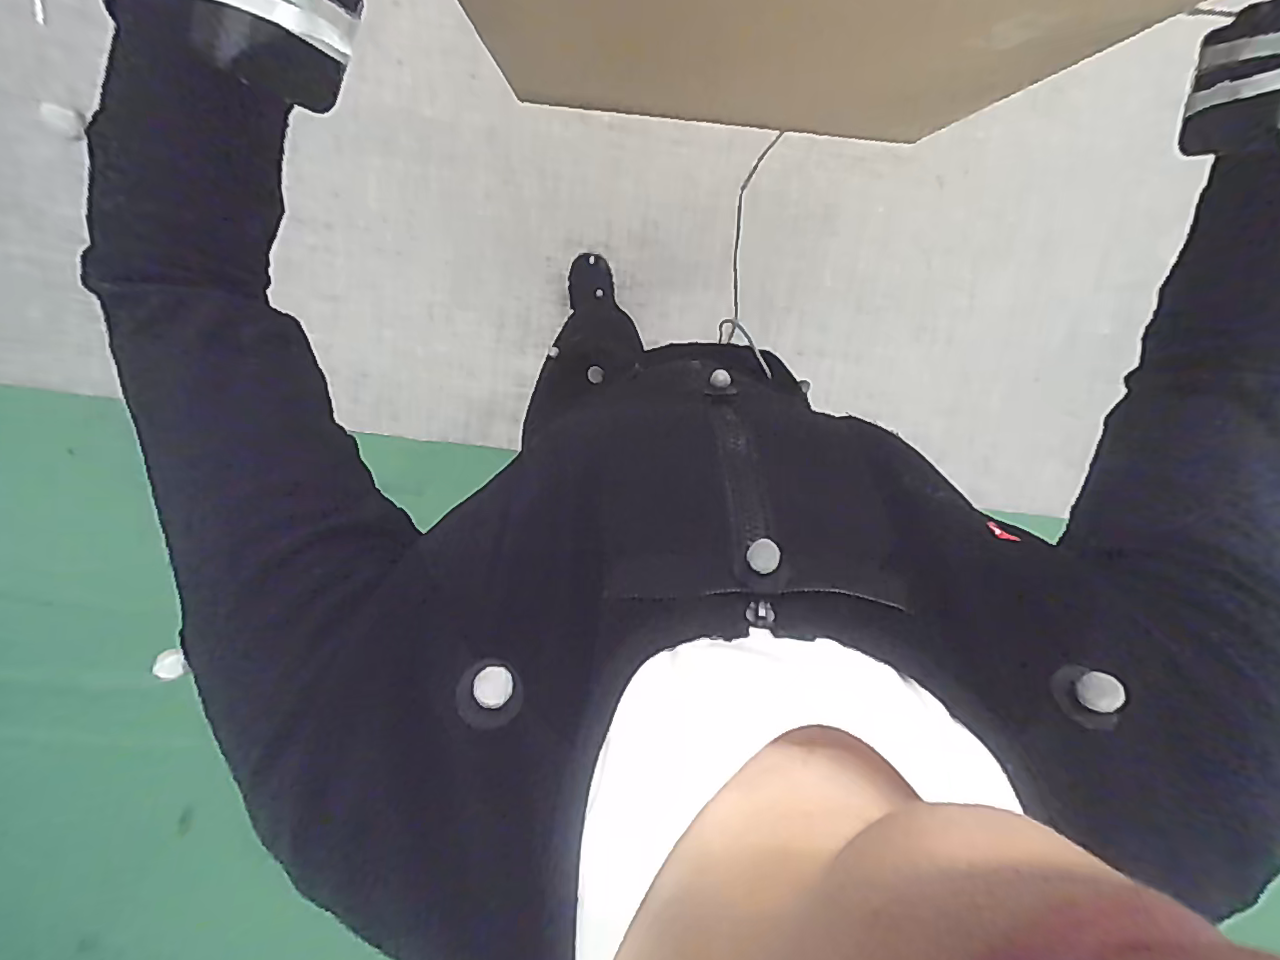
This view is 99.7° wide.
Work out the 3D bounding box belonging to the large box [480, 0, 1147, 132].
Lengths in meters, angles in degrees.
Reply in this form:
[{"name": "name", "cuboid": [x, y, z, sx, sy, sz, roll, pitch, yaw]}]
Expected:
[{"name": "large box", "cuboid": [0.097, -0.456, 0.354, 0.408, 0.320, 0.320, 3, 110, -4]}]
